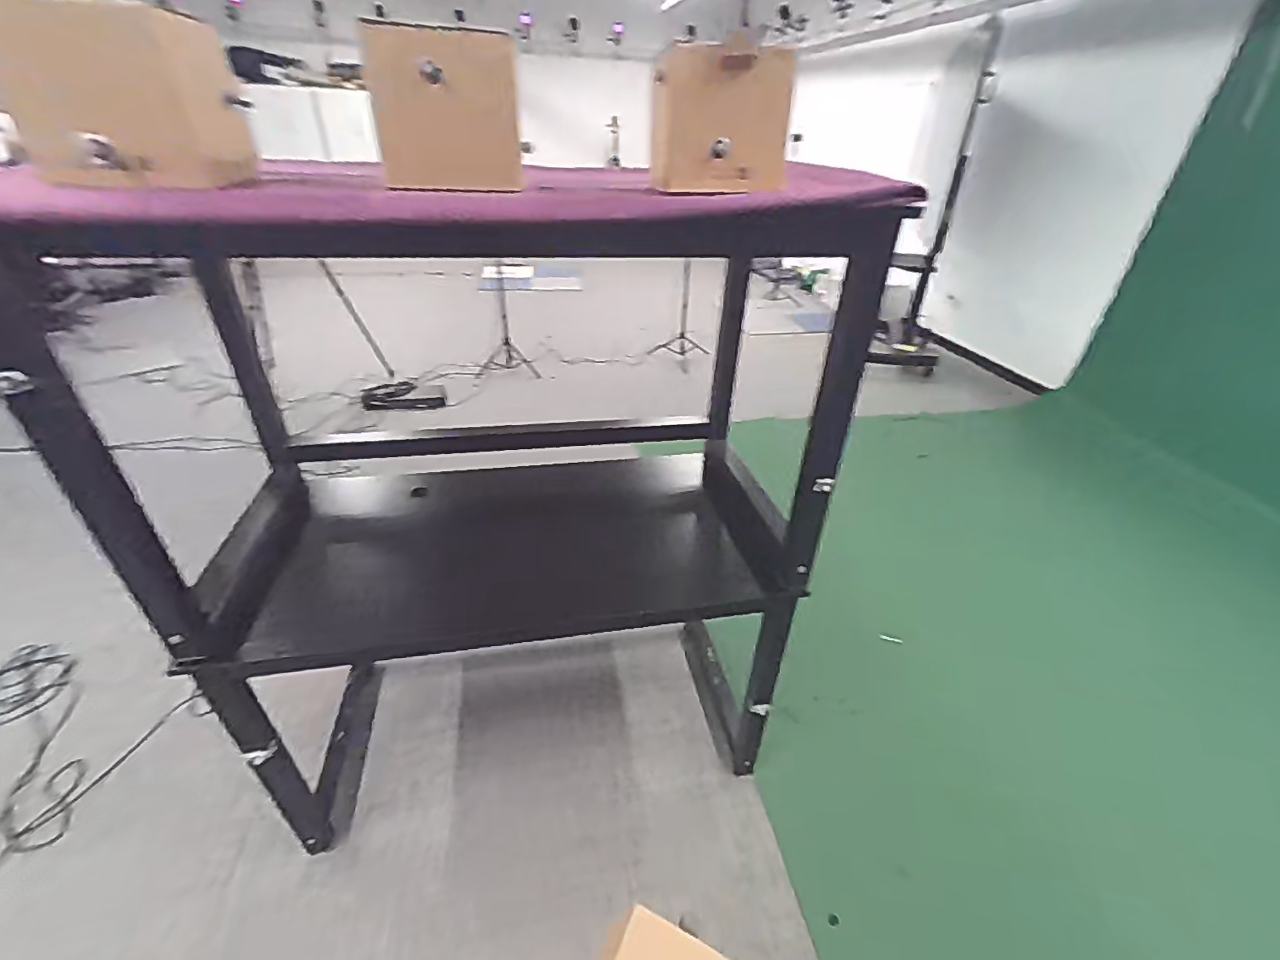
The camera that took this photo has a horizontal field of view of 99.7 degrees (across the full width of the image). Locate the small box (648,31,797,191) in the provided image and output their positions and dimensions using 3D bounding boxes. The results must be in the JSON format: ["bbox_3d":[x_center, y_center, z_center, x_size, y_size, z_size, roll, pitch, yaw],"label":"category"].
[{"bbox_3d":[0.104,-0.515,0.773,0.168,0.176,0.179,-4,31,-7],"label":"small box"}]

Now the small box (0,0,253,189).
[{"bbox_3d":[-0.587,-0.443,0.627,0.168,0.176,0.179,-7,35,-13],"label":"small box"}]

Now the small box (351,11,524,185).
[{"bbox_3d":[-0.251,-0.490,0.718,0.179,0.176,0.168,-4,32,-10],"label":"small box"}]
